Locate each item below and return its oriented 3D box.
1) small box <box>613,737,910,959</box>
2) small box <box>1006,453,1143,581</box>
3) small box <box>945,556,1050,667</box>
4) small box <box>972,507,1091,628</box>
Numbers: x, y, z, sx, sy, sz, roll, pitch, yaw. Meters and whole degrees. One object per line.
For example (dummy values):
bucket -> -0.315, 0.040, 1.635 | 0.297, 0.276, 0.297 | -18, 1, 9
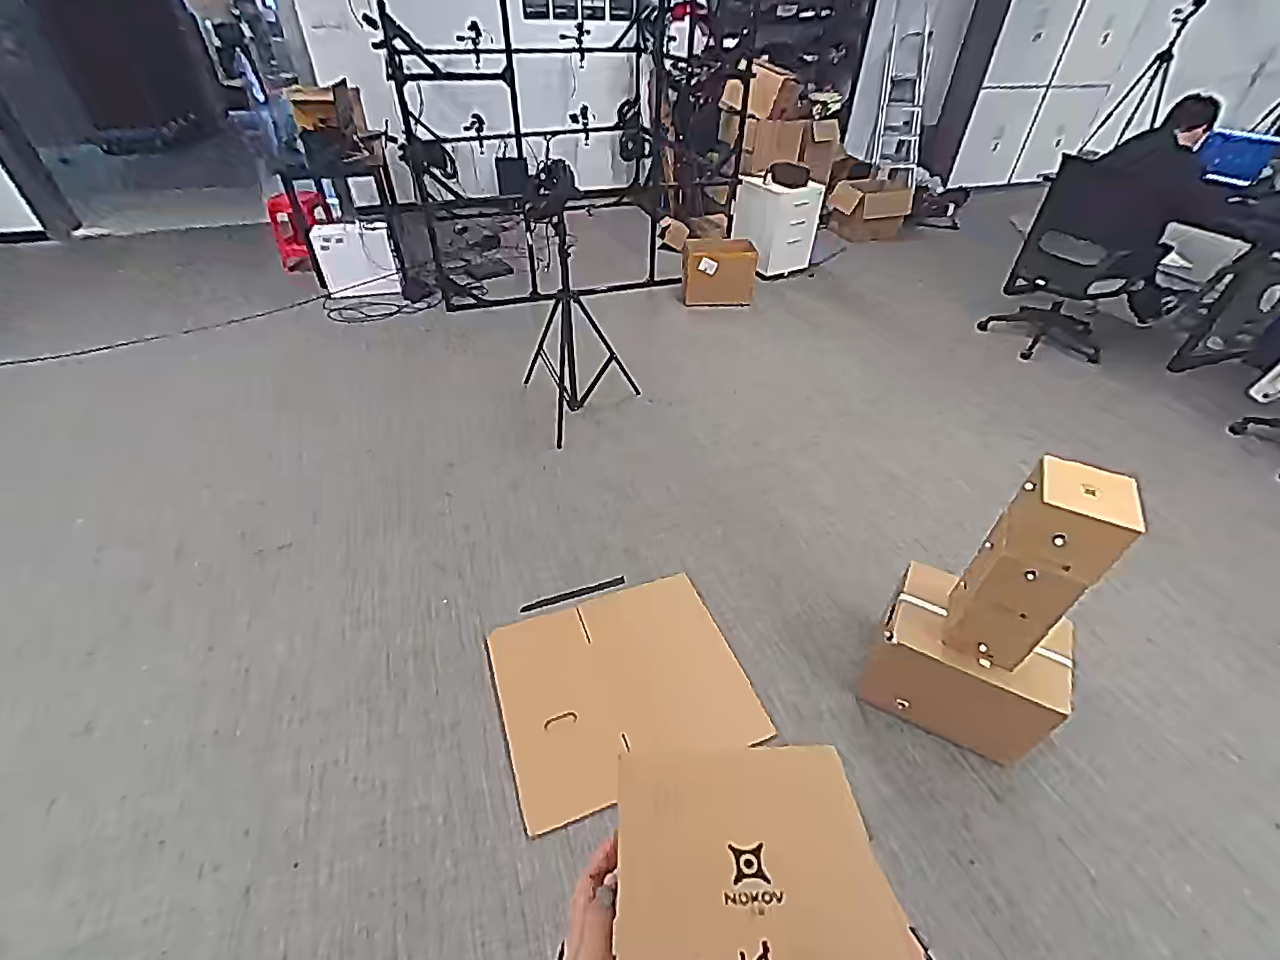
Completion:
small box -> 0.067, 0.310, 0.377 | 0.168, 0.176, 0.179 | -2, 31, 0
small box -> 0.887, 0.077, 1.120 | 0.168, 0.176, 0.179 | 21, 45, 21
small box -> 0.878, 0.322, 1.336 | 0.168, 0.176, 0.179 | 21, 45, 21
small box -> 0.882, 0.197, 1.230 | 0.168, 0.176, 0.179 | 21, 44, 21
